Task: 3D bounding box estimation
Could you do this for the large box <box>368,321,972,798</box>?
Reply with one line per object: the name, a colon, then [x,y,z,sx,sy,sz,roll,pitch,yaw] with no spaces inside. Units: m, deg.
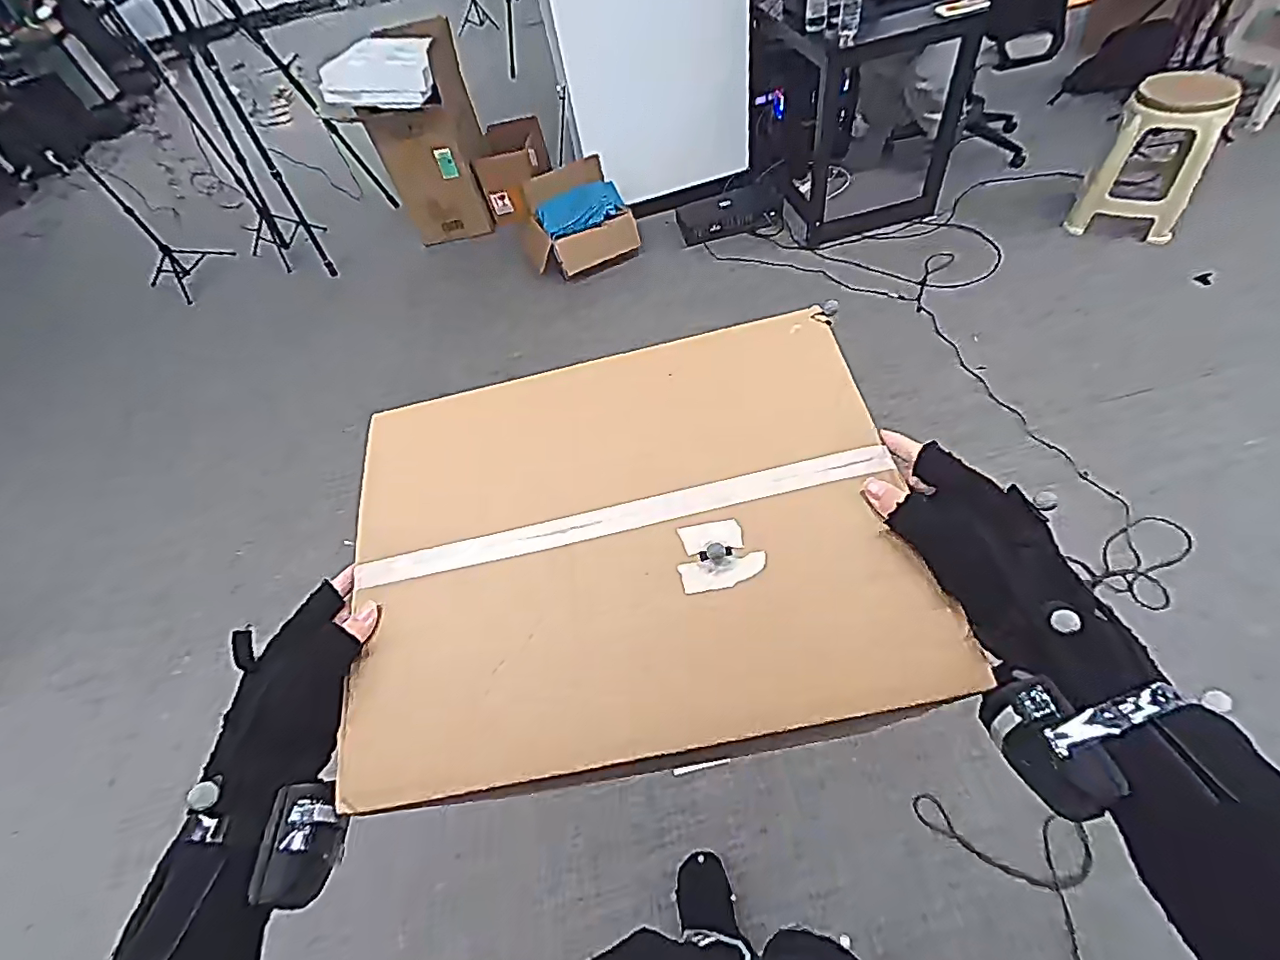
large box: [0.011,0.103,0.544,0.408,0.320,0.320,-13,61,3]
